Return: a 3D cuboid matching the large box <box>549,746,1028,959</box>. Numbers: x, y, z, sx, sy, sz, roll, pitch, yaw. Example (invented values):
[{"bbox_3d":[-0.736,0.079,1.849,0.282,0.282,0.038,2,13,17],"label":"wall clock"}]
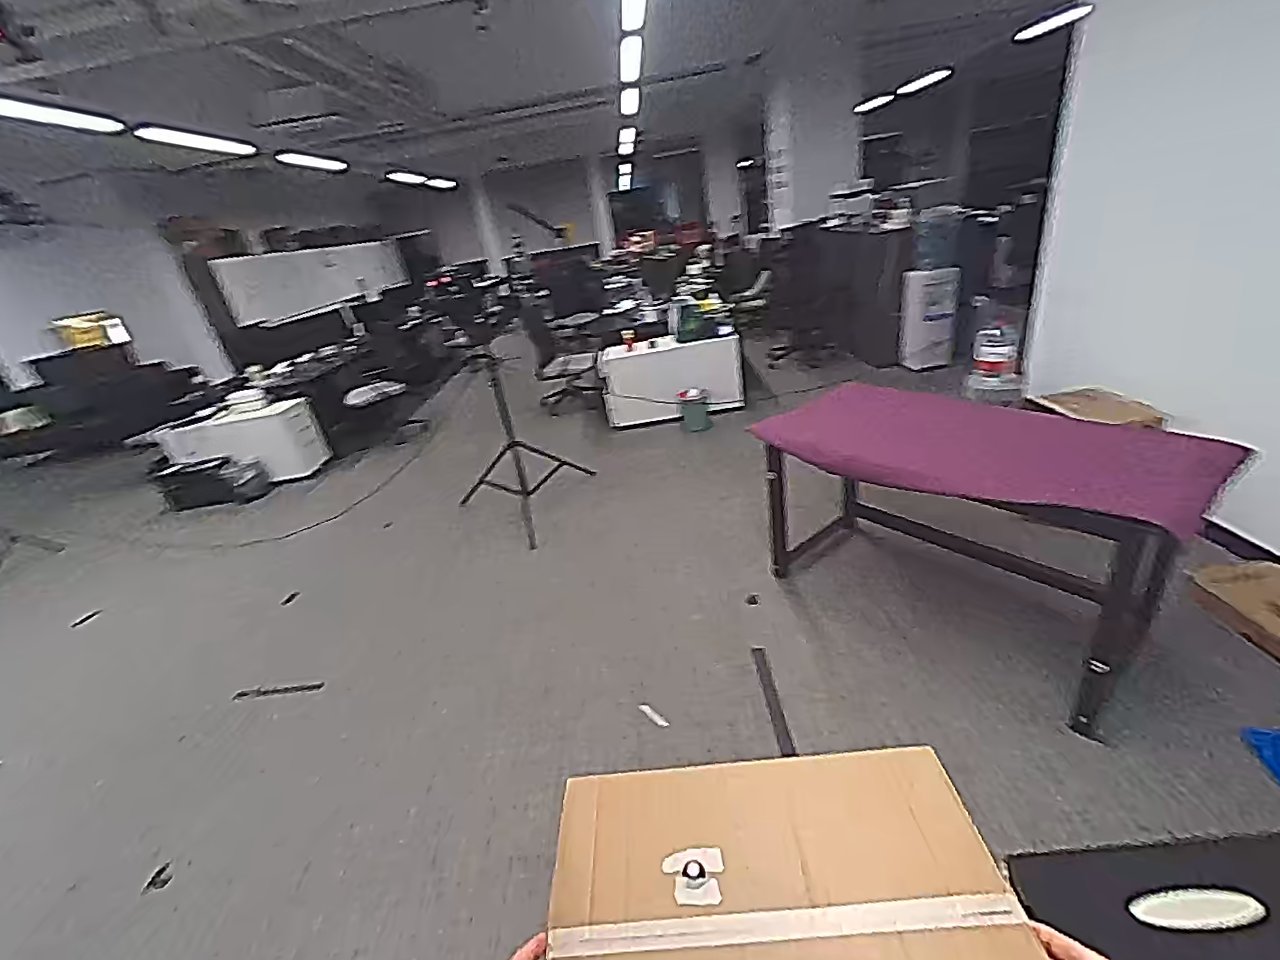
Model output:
[{"bbox_3d":[0.138,0.525,0.544,0.408,0.320,0.320,-8,27,2],"label":"large box"}]
